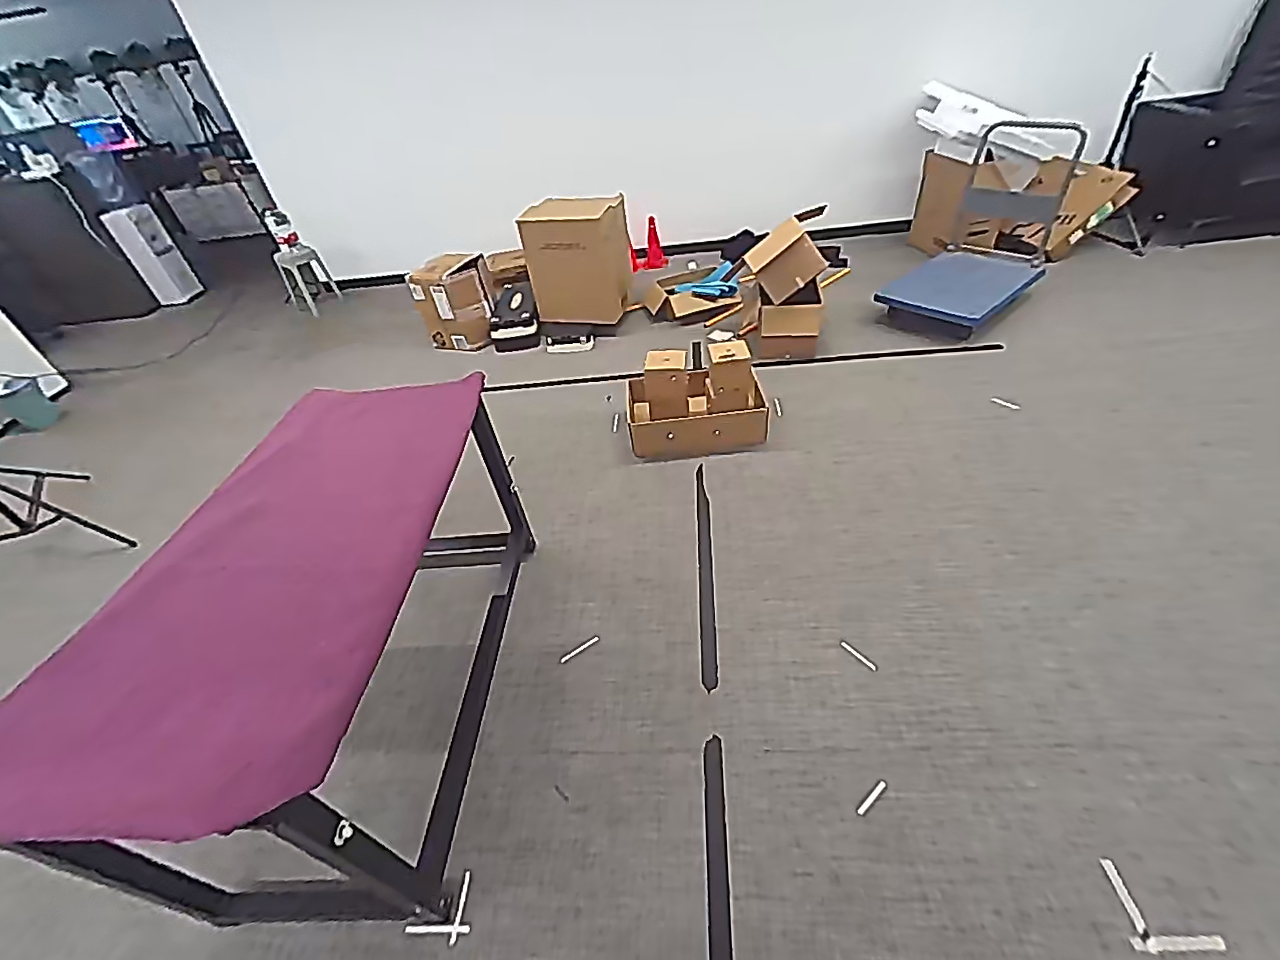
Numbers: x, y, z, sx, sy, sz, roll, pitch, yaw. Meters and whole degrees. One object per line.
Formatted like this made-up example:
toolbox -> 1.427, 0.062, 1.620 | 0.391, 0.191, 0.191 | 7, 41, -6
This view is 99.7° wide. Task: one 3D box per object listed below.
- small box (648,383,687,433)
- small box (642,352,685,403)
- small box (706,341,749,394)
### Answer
small box -> 0.133, -0.340, 2.528 | 0.168, 0.176, 0.179 | 1, 41, 10
small box -> 0.111, -0.454, 2.408 | 0.179, 0.176, 0.168 | 0, 40, 8
small box -> 0.389, -0.494, 2.401 | 0.168, 0.176, 0.179 | -7, 39, 3
